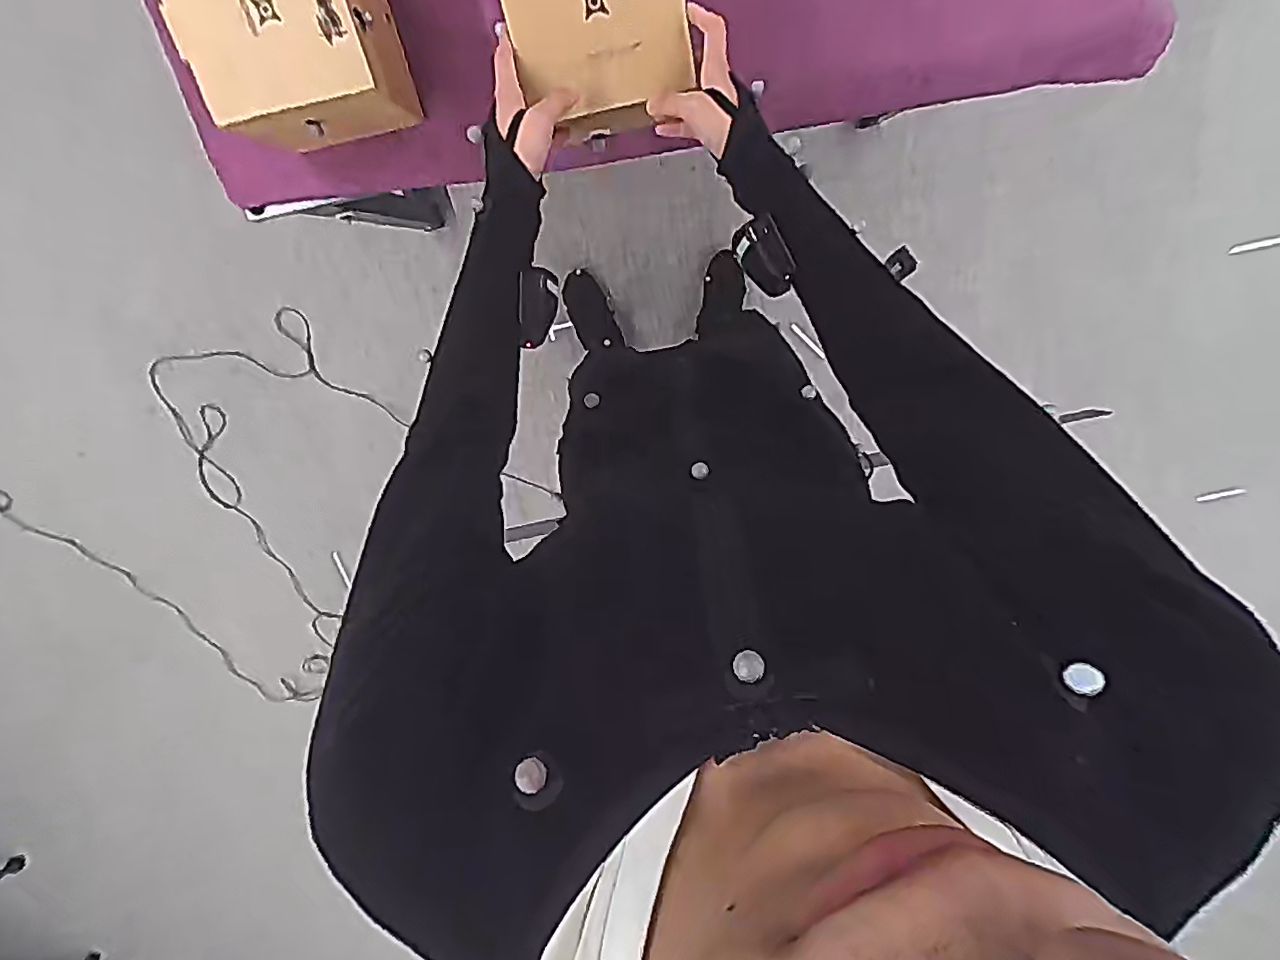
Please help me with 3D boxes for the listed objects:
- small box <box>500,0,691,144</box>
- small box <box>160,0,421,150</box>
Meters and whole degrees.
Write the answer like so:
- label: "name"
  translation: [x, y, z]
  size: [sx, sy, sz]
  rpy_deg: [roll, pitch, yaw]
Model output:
- label: "small box"
  translation: [-0.053, -0.474, 0.560]
  size: [0.168, 0.176, 0.179]
  rpy_deg: [-13, 116, 1]
- label: "small box"
  translation: [-0.378, -0.490, 0.603]
  size: [0.179, 0.176, 0.168]
  rpy_deg: [-12, 113, 2]
